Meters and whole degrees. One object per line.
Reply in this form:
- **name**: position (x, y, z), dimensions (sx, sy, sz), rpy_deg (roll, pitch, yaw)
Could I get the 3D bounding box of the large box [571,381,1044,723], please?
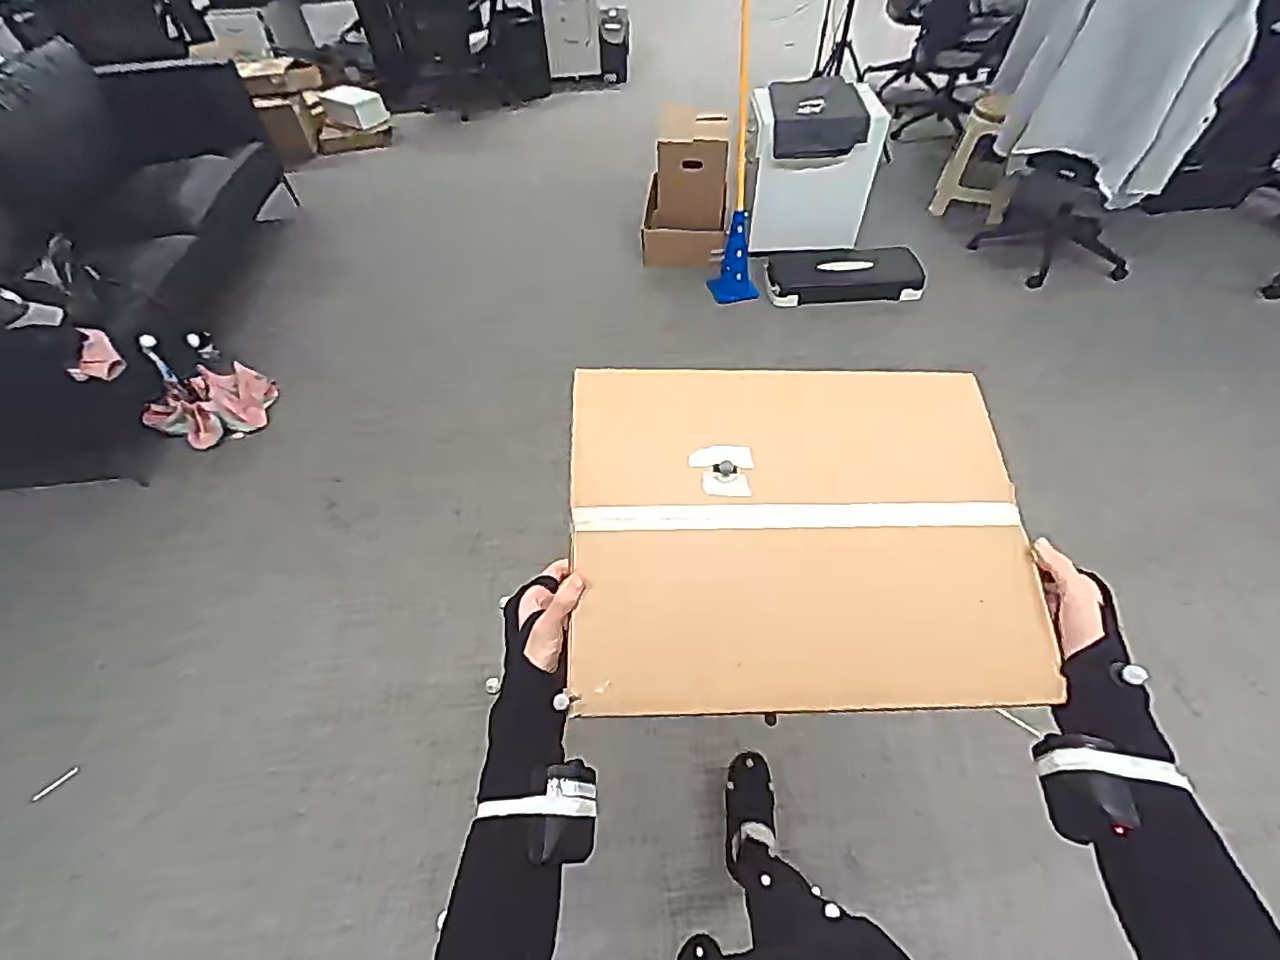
- **large box**: position (0.134, 0.101, 0.636), dimensions (0.408, 0.320, 0.320), rpy_deg (-1, 67, -2)
